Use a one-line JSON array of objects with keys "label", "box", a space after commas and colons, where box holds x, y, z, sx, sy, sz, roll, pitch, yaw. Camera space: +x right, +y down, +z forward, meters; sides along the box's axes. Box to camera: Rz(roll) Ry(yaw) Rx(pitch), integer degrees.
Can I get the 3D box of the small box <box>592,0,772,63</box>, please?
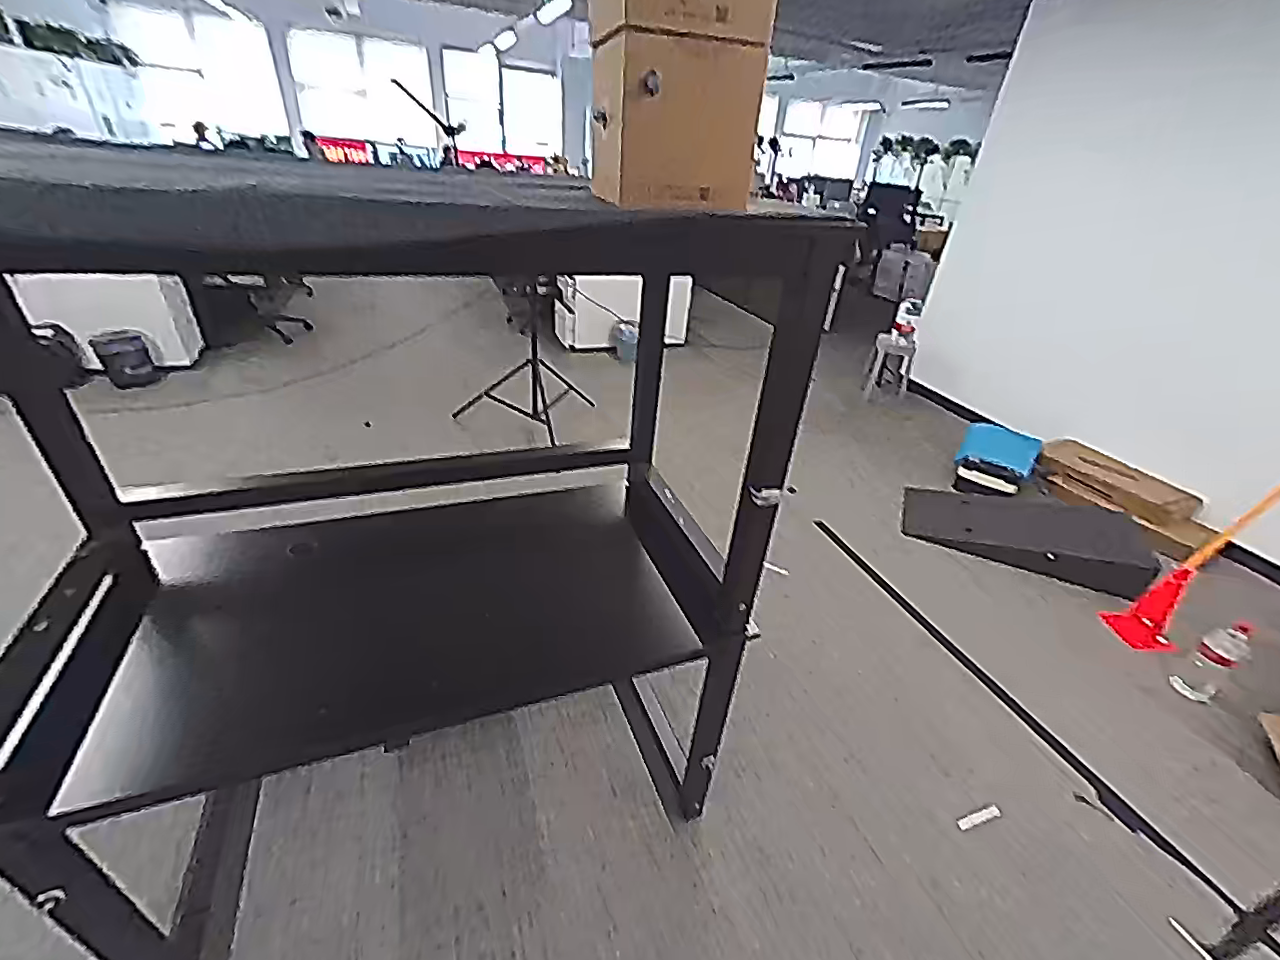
[{"label": "small box", "box": [0.042, -0.577, 0.597, 0.168, 0.176, 0.179, -7, 33, -16]}]
